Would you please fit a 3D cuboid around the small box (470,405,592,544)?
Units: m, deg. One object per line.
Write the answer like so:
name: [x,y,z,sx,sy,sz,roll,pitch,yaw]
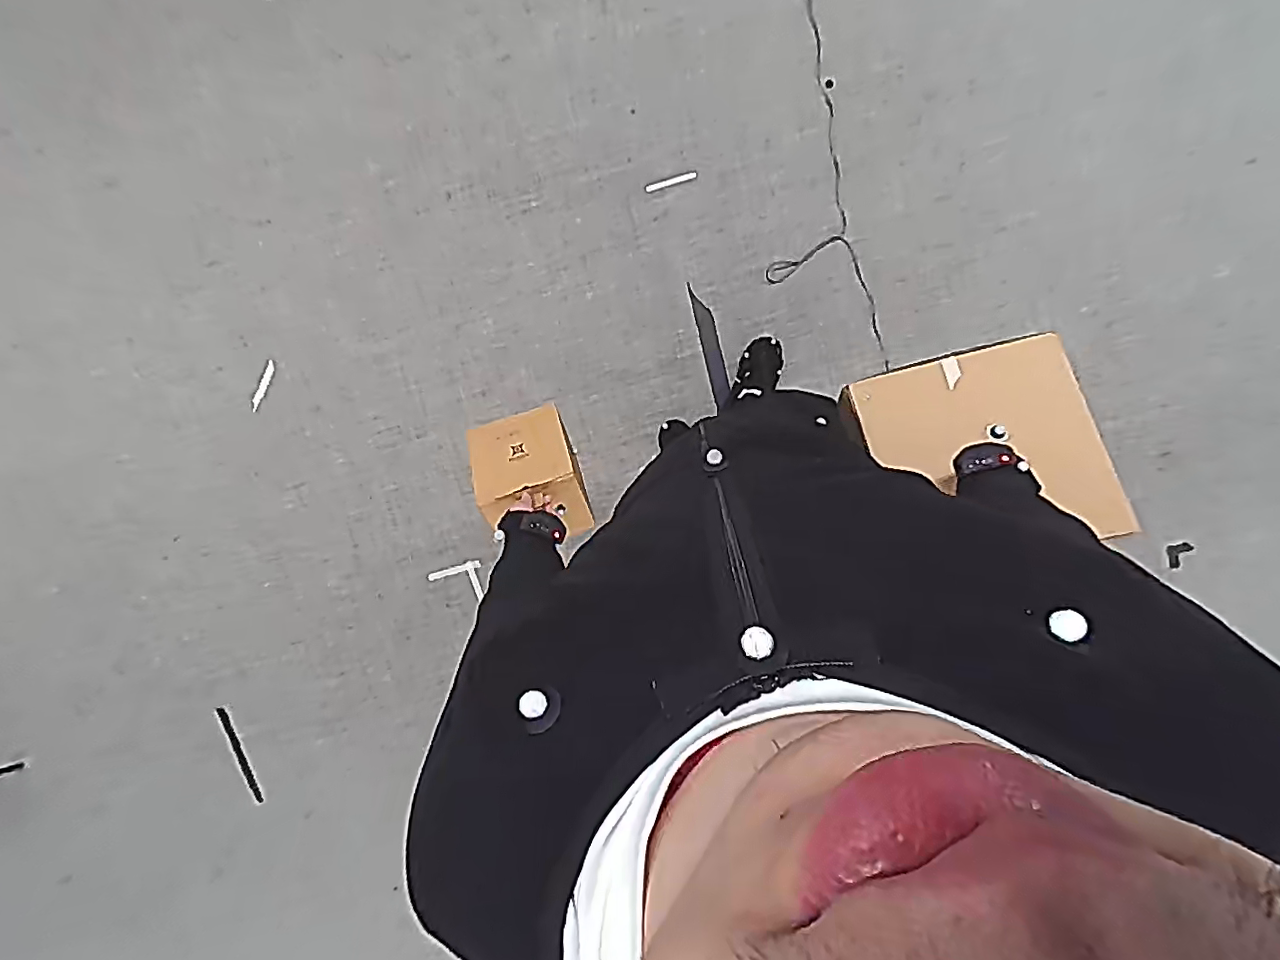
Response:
small box: [-0.196,-0.002,0.992,0.168,0.179,0.176,-18,142,-4]
